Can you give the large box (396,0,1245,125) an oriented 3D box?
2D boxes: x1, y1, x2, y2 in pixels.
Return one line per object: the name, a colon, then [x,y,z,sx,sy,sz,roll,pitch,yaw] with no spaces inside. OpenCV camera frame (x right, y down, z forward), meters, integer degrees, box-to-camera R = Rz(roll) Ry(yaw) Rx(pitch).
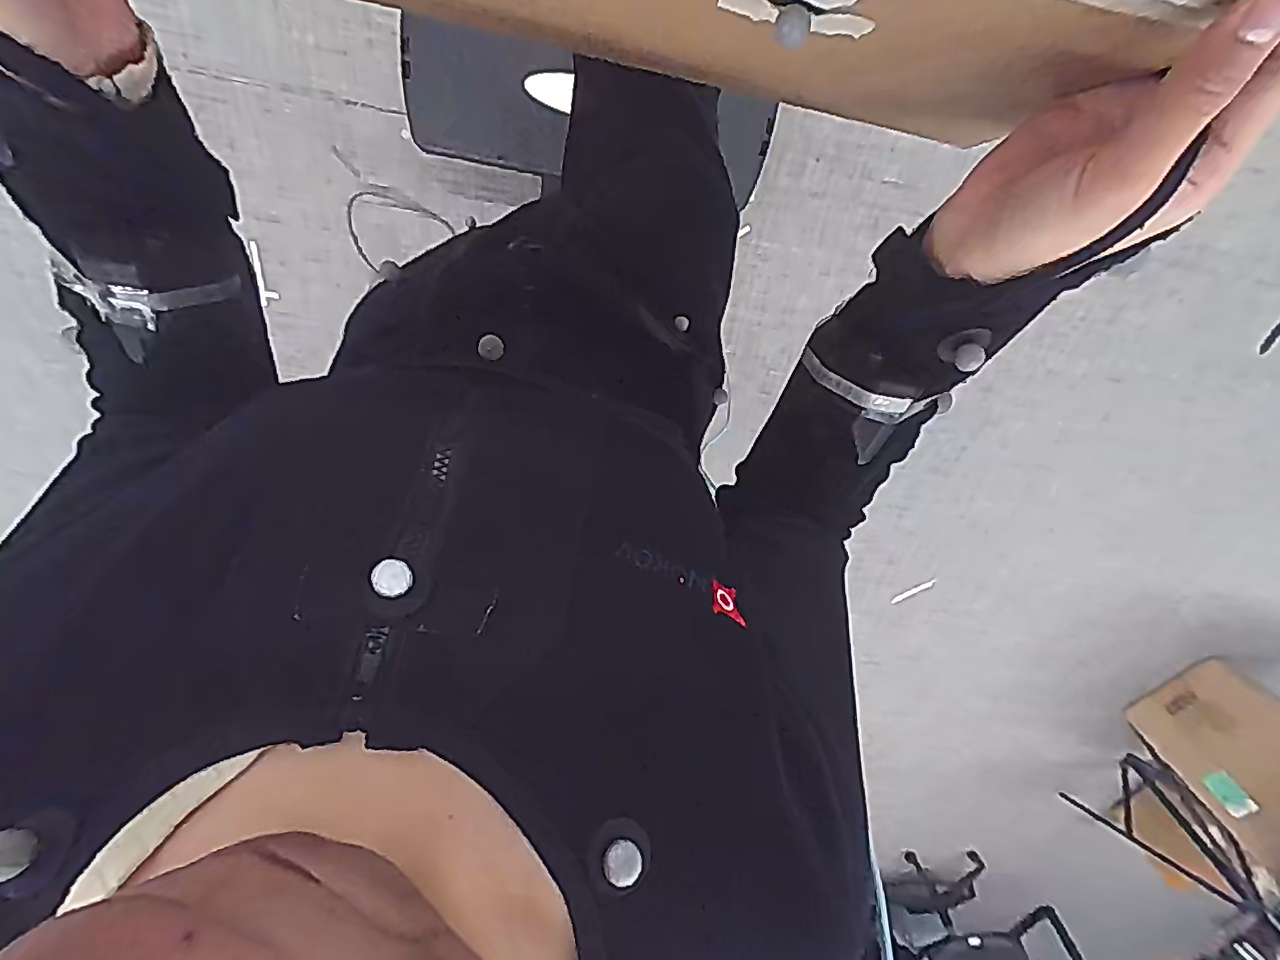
large box: [0.018,-0.320,0.096,0.408,0.320,0.320,8,109,-6]
